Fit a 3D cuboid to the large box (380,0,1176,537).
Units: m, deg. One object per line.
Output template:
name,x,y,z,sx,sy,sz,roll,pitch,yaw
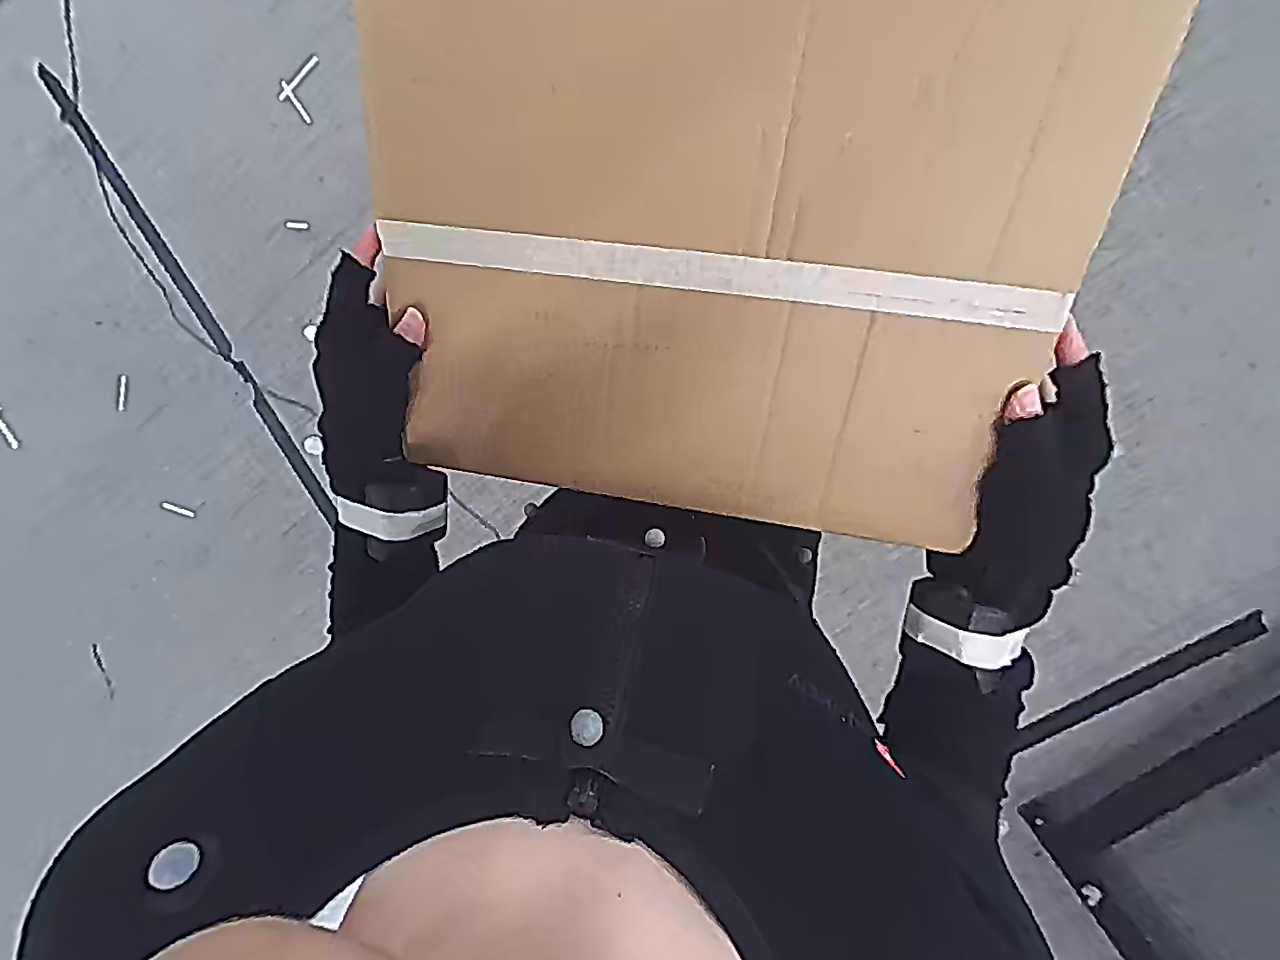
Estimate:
large box,0.062,-0.185,0.462,0.408,0.320,0.320,9,116,6
